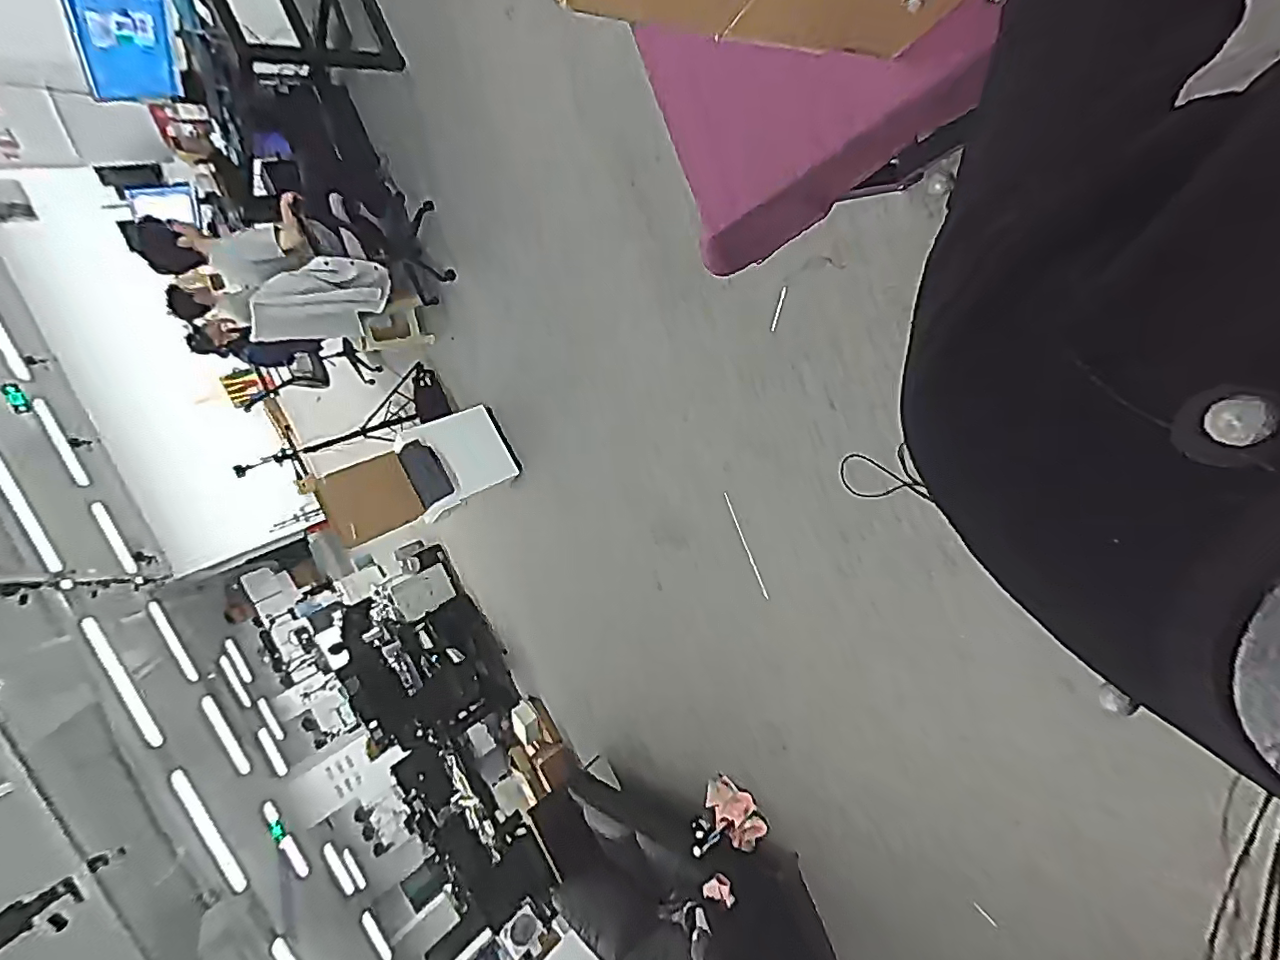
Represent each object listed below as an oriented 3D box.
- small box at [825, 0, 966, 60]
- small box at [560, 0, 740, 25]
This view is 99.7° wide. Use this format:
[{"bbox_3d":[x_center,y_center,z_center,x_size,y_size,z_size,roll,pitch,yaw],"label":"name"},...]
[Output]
[{"bbox_3d":[0.258,-0.558,0.533,0.179,0.176,0.168,-17,99,54],"label":"small box"},{"bbox_3d":[0.024,-0.437,0.343,0.168,0.176,0.179,-13,100,52],"label":"small box"}]
